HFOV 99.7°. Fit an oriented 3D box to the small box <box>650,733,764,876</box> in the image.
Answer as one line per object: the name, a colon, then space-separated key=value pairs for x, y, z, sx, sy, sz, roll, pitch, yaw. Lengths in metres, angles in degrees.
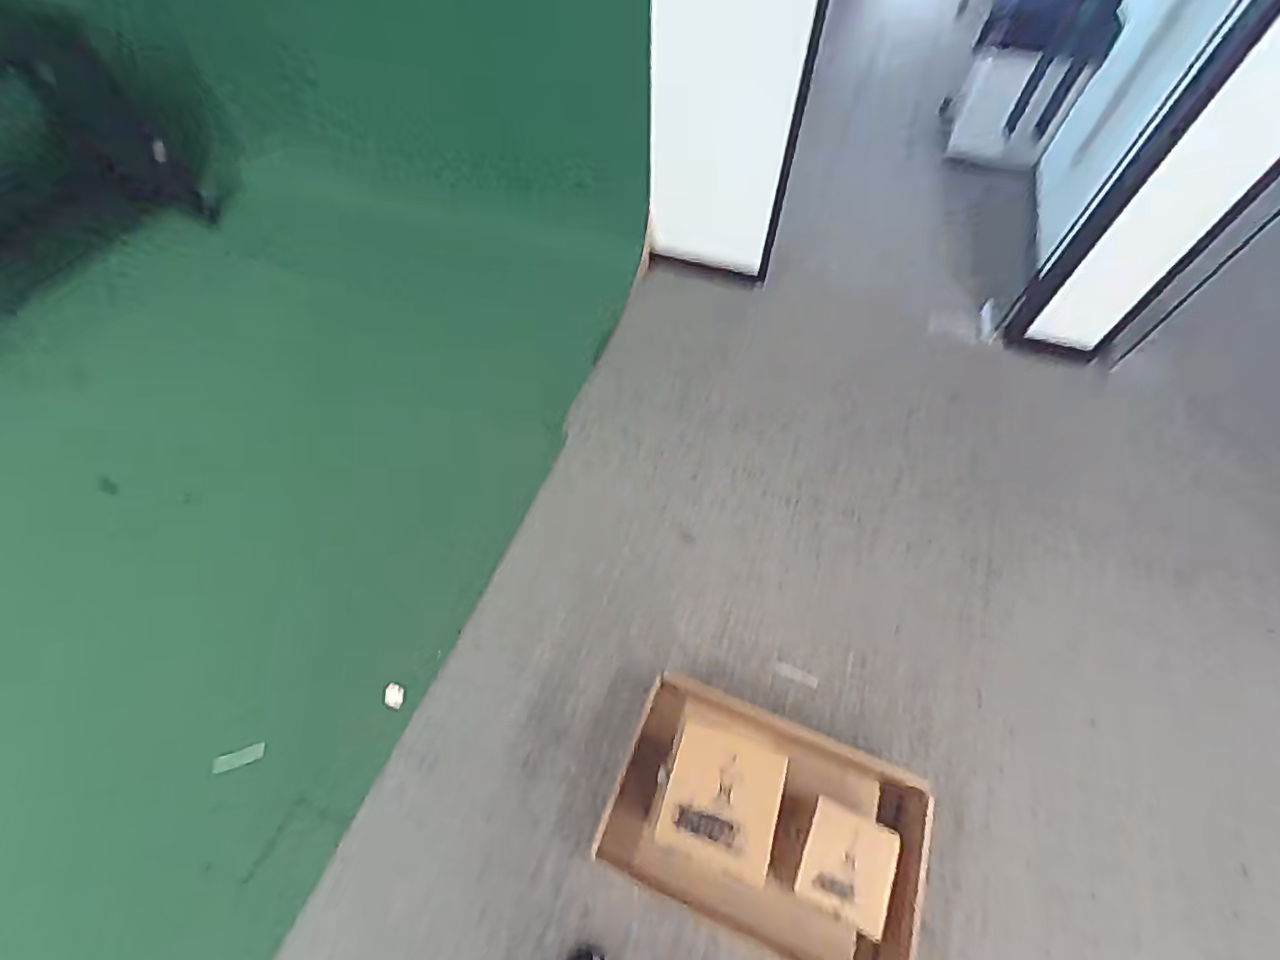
small box: x=0.119 y=0.604 z=1.016 sx=0.168 sy=0.176 sz=0.179 roll=17 pitch=59 yaw=10
